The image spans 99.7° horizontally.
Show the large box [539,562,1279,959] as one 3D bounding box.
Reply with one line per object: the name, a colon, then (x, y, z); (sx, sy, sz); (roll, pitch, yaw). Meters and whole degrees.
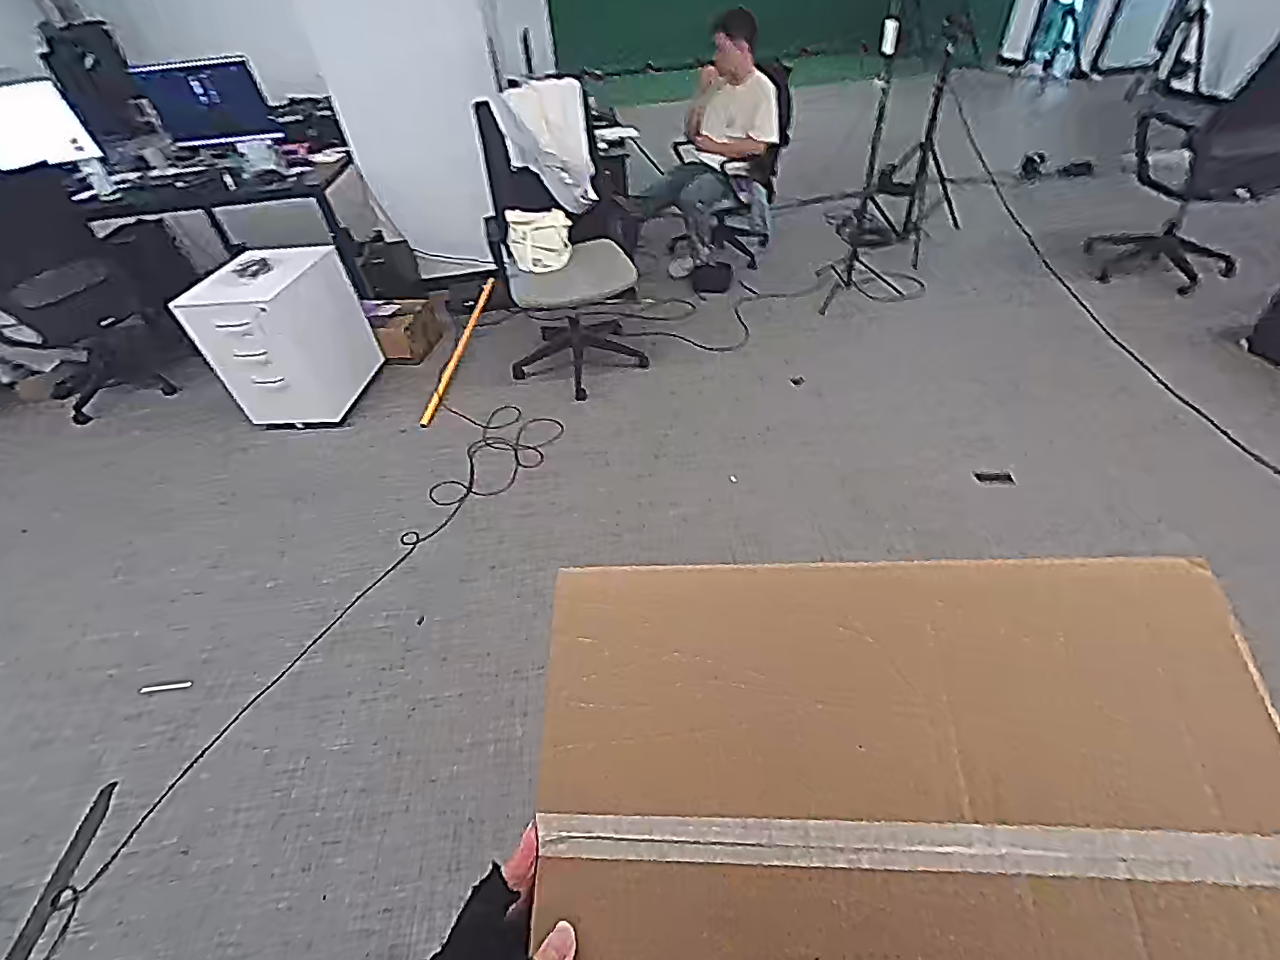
large box: (0.158, 0.262, 0.432); (0.408, 0.320, 0.320); (-2, 65, 7)
